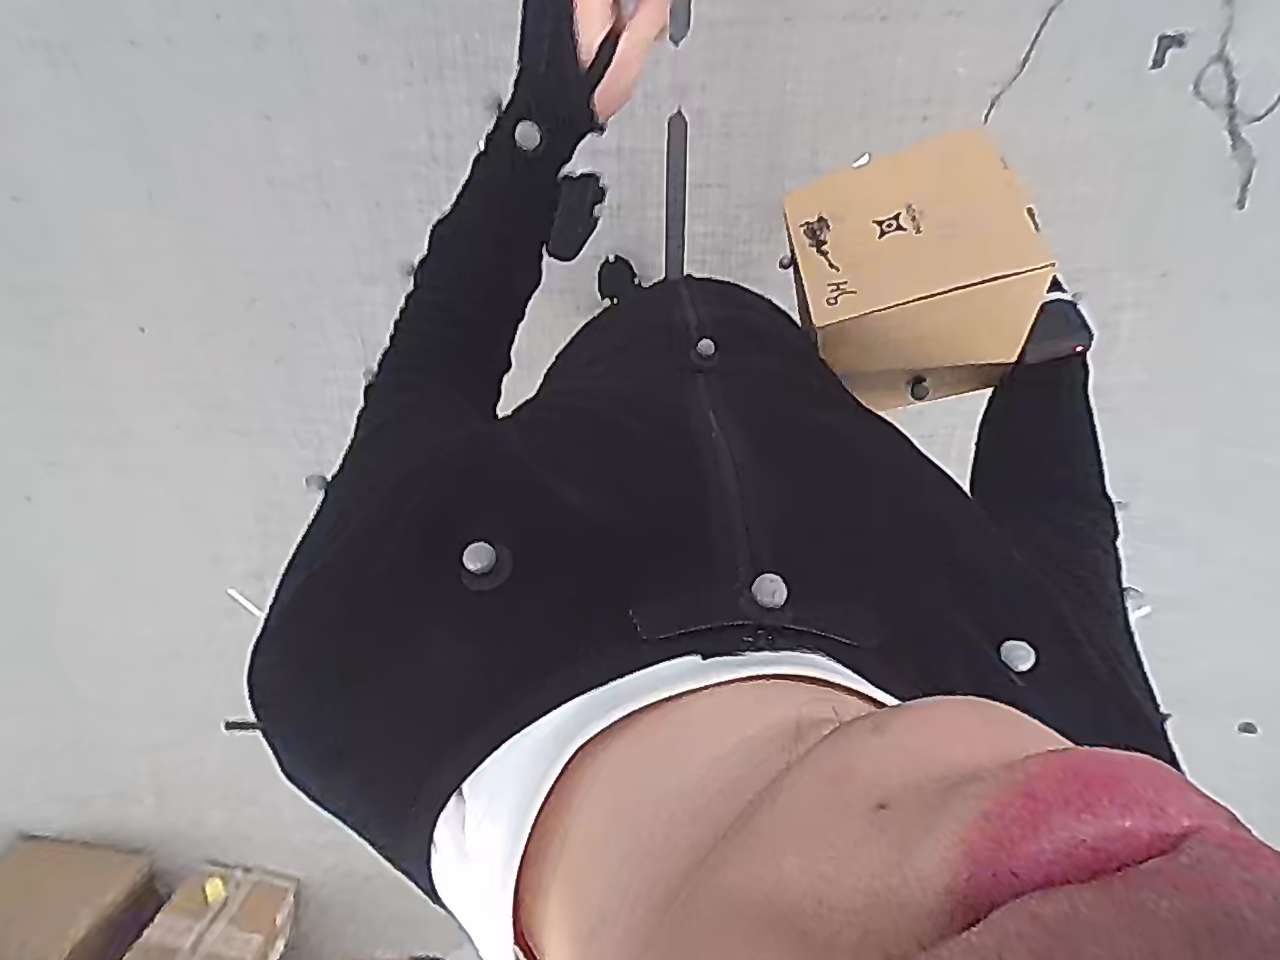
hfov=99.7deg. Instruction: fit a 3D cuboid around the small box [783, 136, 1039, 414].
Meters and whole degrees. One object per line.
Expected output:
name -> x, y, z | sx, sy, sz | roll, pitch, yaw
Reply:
small box -> 0.251, -0.189, 0.543 | 0.179, 0.168, 0.176 | -12, 153, 17
